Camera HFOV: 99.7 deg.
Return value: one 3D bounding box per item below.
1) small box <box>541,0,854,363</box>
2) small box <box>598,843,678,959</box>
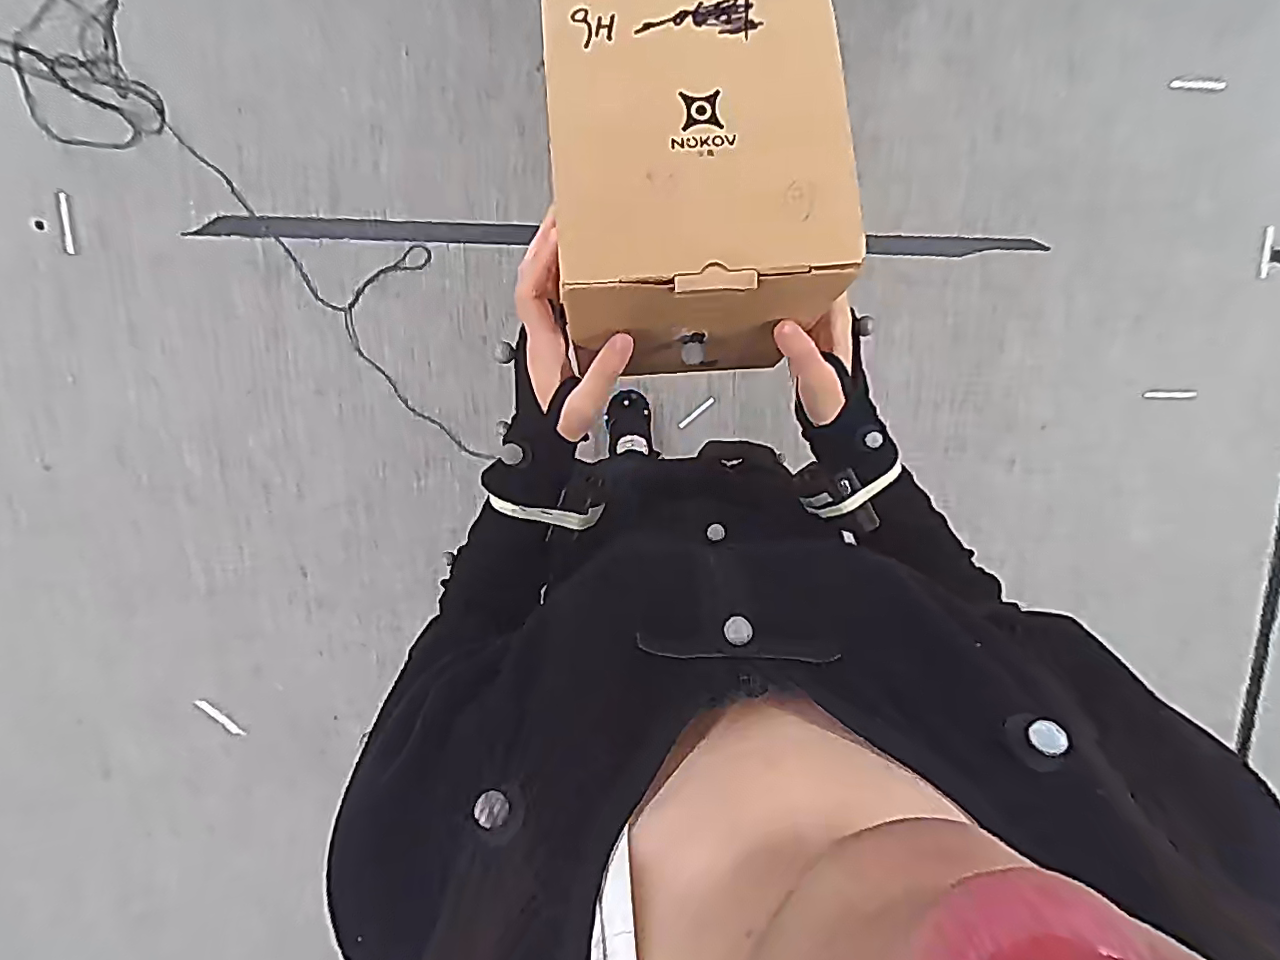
[{"bbox_3d":[0.028,-0.187,0.377,0.168,0.176,0.179,-4,85,-3],"label":"small box"},{"bbox_3d":[-0.008,0.978,1.254,0.179,0.176,0.168,-1,98,-2],"label":"small box"}]
